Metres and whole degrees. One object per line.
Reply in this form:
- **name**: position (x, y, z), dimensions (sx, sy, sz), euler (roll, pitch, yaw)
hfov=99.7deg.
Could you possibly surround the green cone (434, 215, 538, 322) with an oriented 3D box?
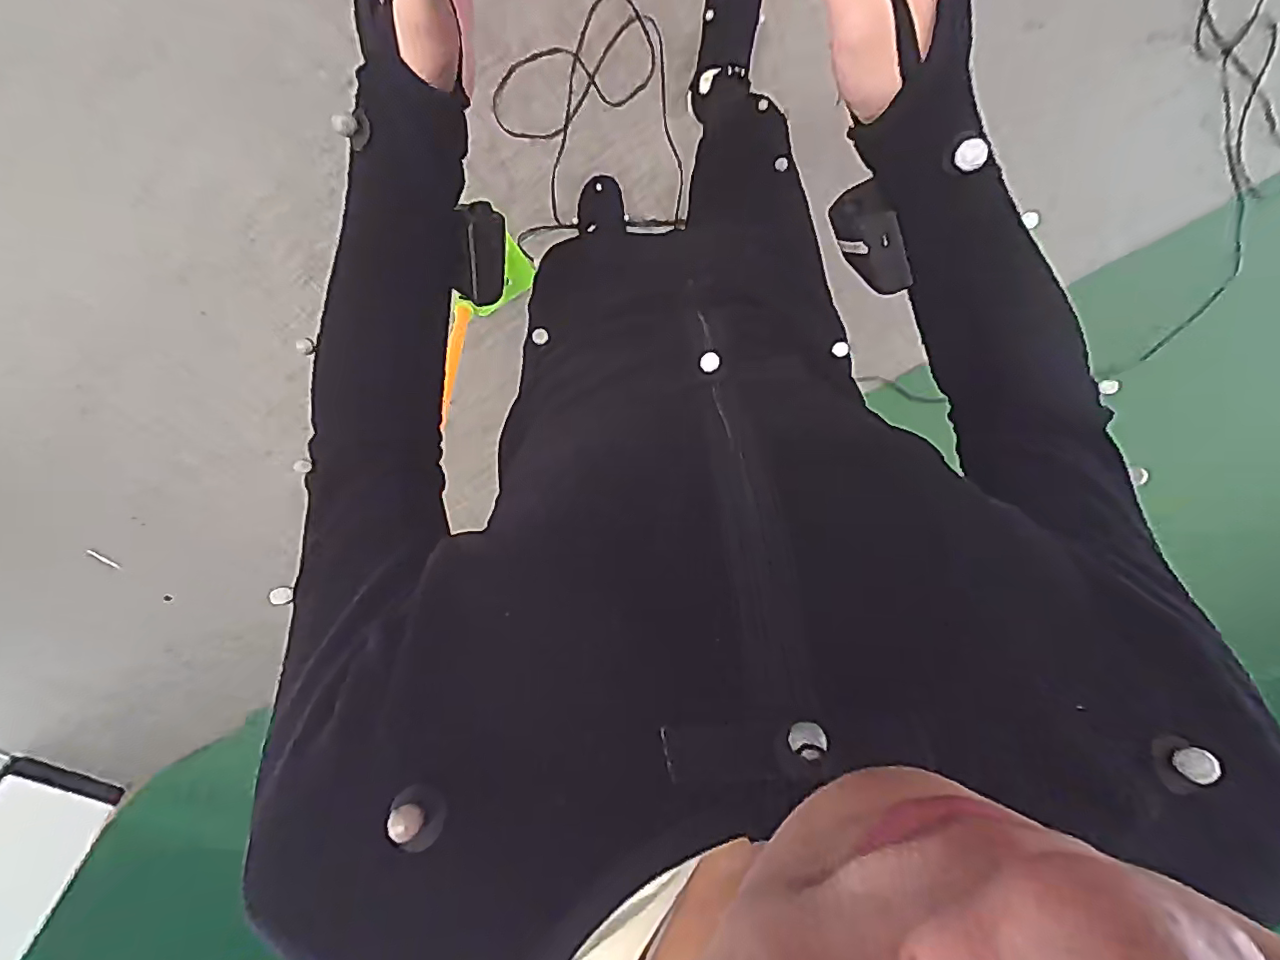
- **green cone**: position (-0.370, -0.437, 1.238), dimensions (0.202, 0.368, 0.200), euler (-28, 125, 12)
